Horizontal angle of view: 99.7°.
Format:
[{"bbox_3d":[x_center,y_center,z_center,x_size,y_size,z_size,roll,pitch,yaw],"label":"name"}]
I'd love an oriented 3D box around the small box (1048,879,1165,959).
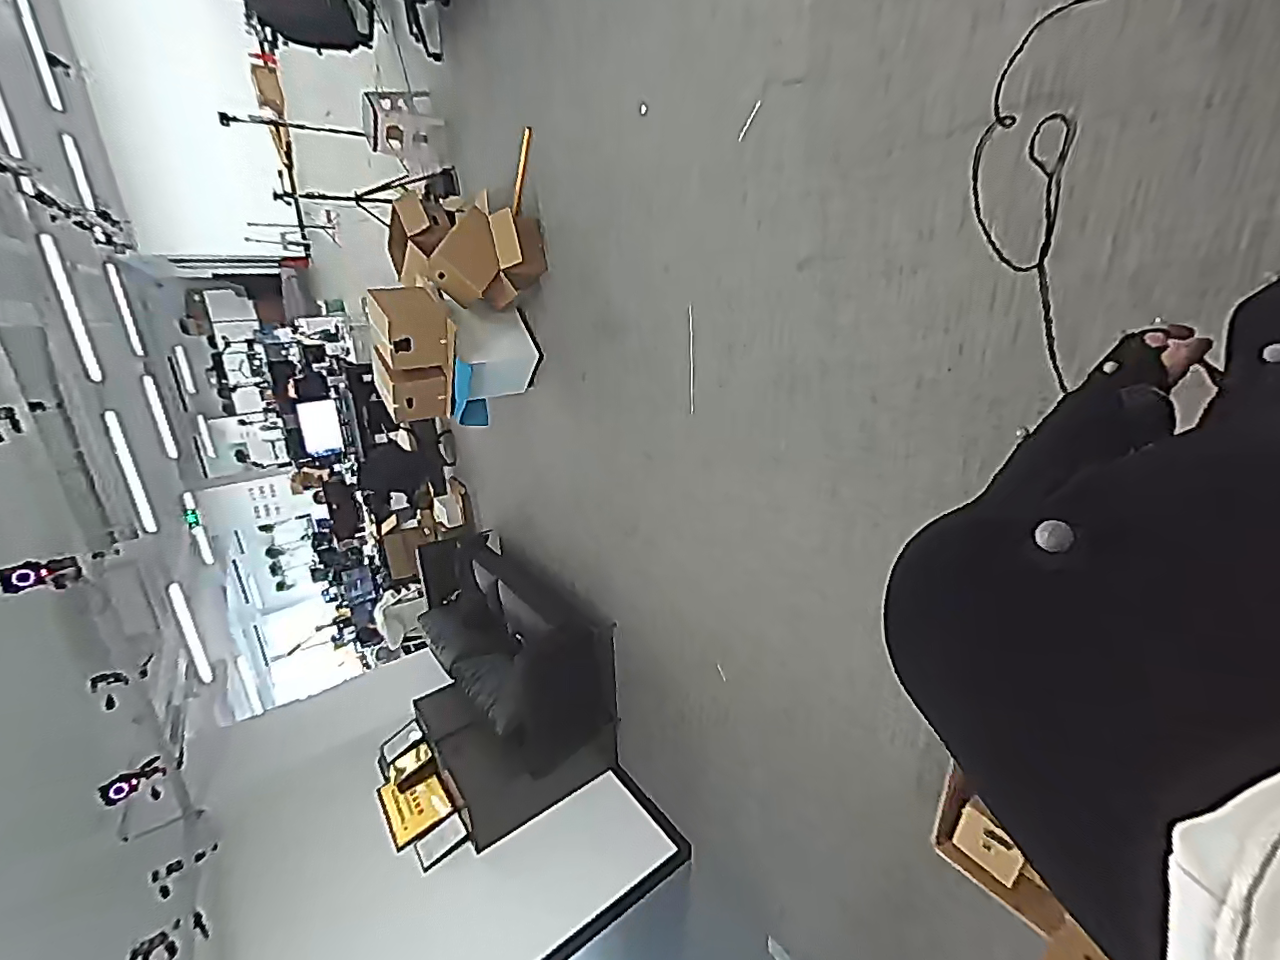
[{"bbox_3d":[1.119,1.128,1.299,0.168,0.176,0.179,20,120,49],"label":"small box"}]
